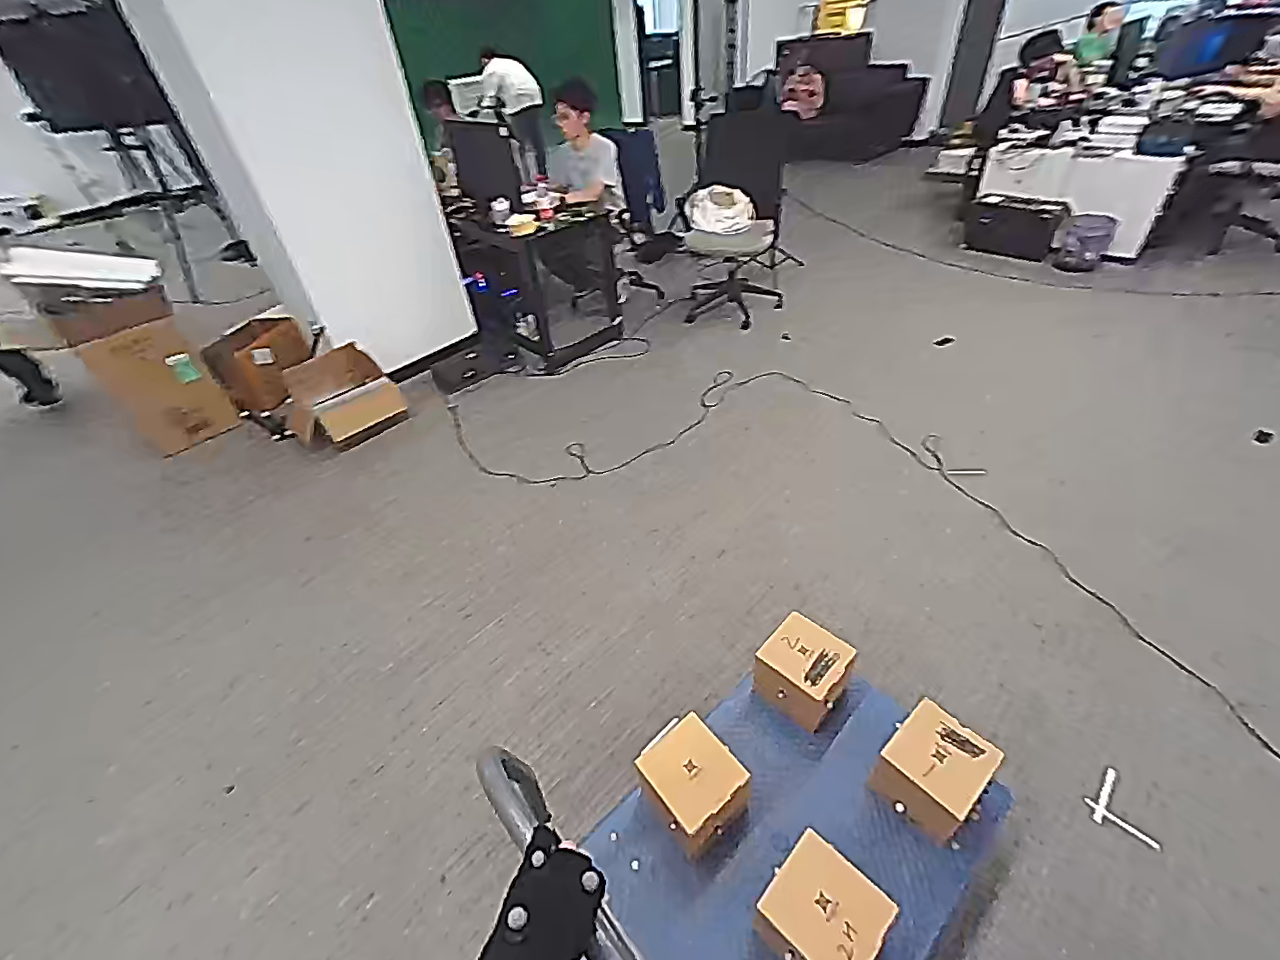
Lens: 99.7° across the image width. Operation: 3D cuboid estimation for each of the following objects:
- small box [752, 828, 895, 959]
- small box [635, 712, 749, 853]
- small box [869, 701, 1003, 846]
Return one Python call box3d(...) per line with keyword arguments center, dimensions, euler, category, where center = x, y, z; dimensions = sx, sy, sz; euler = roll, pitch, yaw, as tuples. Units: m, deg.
box3d(center=(0.315, 0.778, 0.961), dimensions=(0.168, 0.176, 0.179), euler=(-35, 48, -29), category="small box")
box3d(center=(0.107, 0.641, 1.146), dimensions=(0.168, 0.176, 0.179), euler=(-30, 48, -25), category="small box")
box3d(center=(0.602, 0.606, 1.121), dimensions=(0.179, 0.176, 0.168), euler=(-33, 47, -25), category="small box")
